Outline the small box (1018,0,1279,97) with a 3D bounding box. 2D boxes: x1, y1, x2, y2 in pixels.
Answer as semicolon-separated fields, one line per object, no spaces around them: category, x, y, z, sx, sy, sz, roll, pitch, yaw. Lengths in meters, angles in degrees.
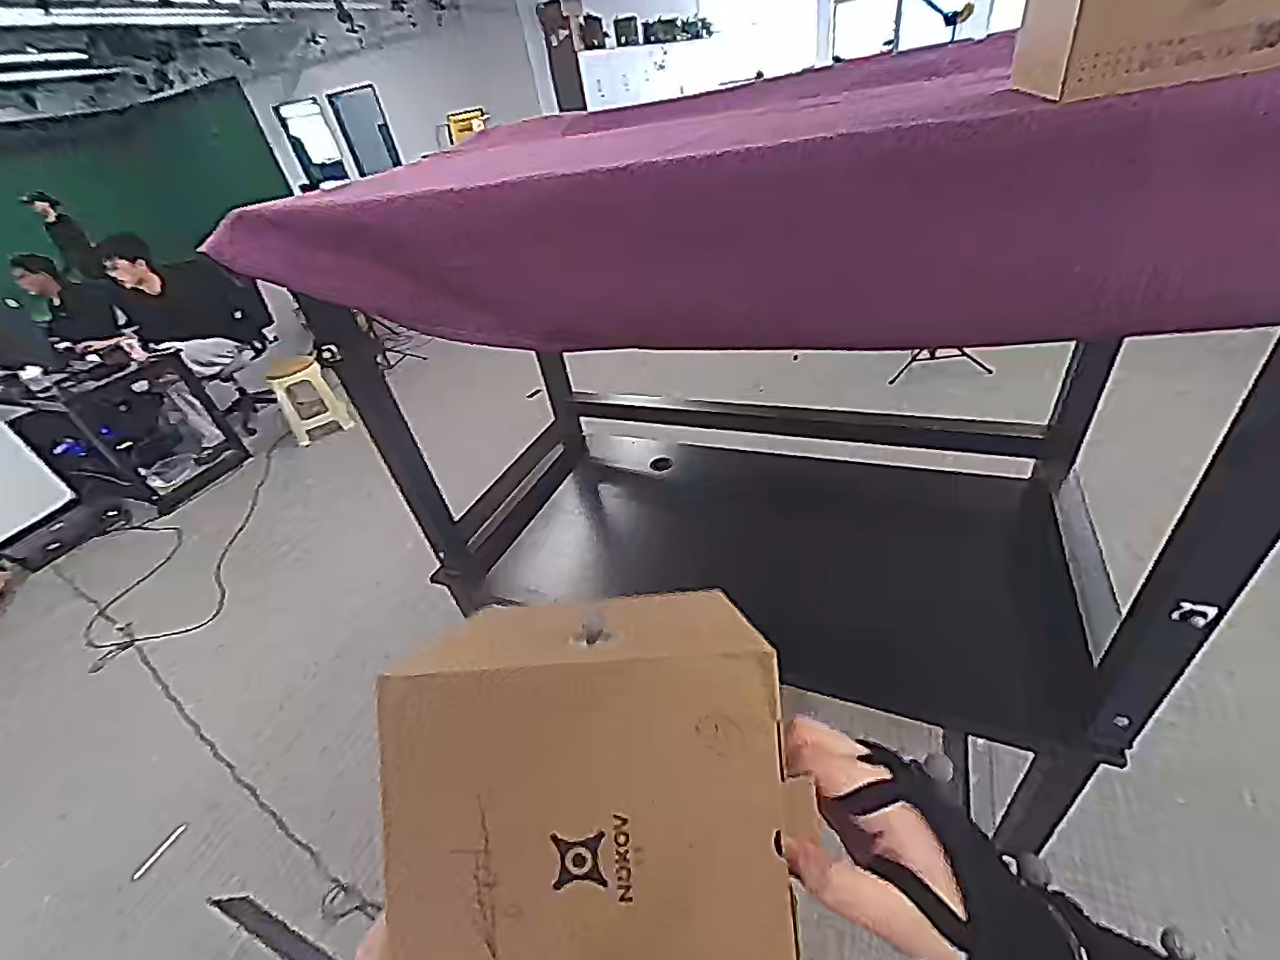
small box;0.380;-0.372;0.361;0.168;0.176;0.179;3;38;20
